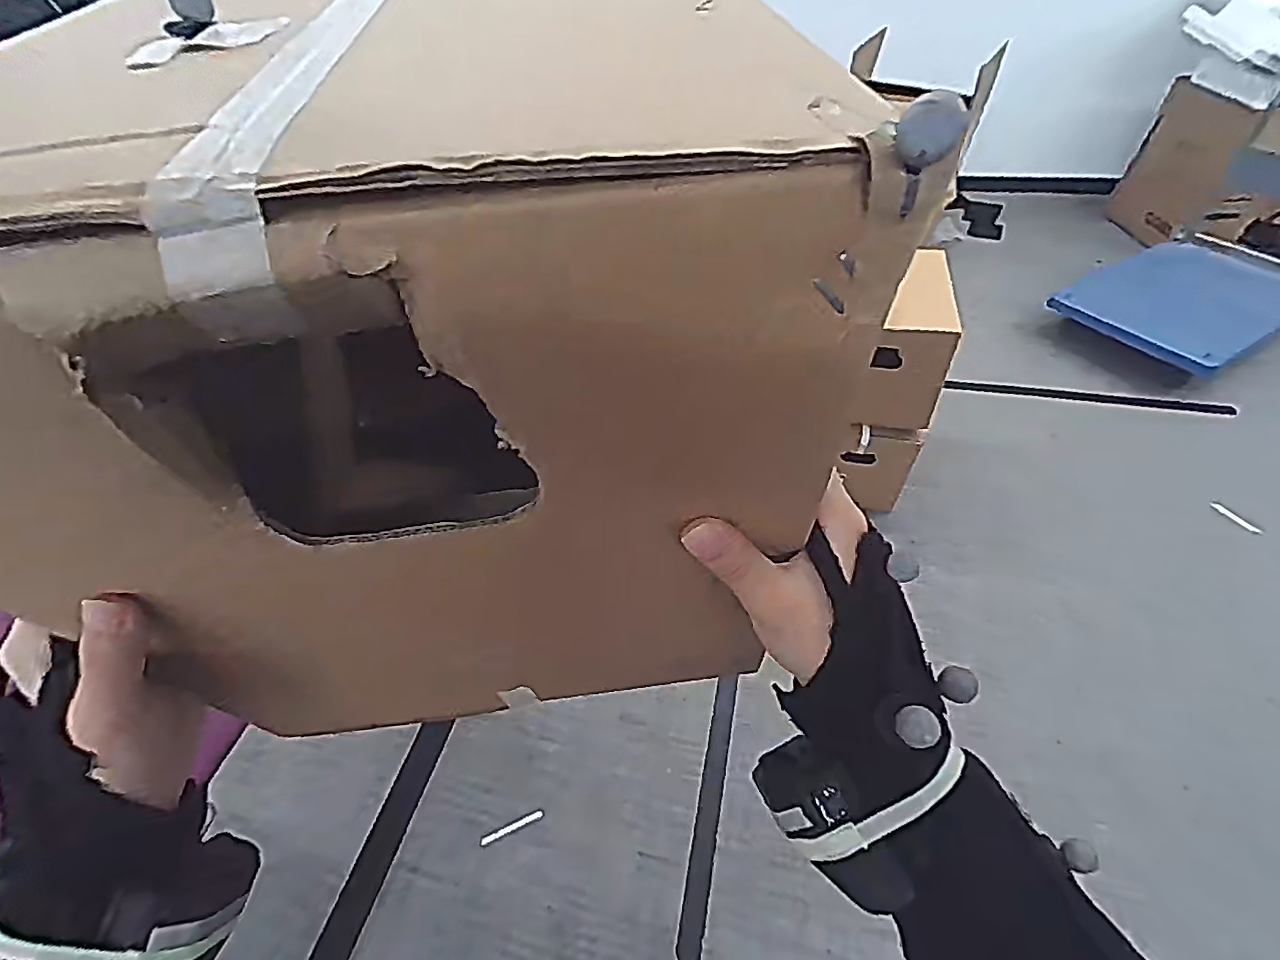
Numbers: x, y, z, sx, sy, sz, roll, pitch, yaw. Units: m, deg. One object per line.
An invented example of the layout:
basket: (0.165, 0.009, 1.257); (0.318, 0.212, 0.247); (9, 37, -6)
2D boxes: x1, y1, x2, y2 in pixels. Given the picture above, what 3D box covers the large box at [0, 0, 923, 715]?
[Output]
large box: (-0.102, -0.110, 0.364); (0.320, 0.320, 0.408); (-8, 52, -2)
